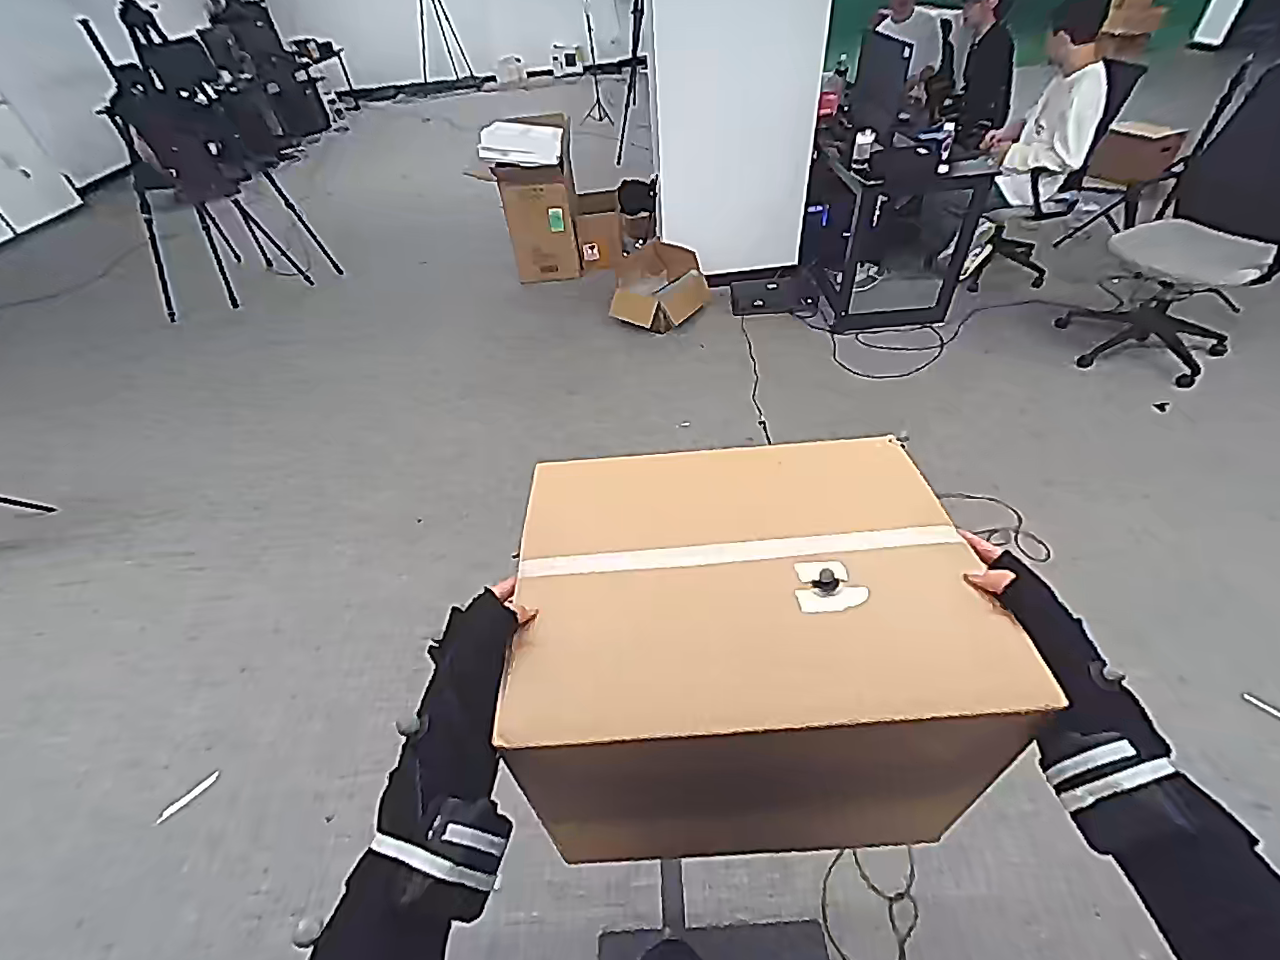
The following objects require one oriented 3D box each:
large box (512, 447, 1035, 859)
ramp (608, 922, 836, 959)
[{"bbox_3d":[0.101,0.190,0.610,0.408,0.320,0.320,-5,42,1],"label":"large box"},{"bbox_3d":[0.180,1.280,0.789,0.509,0.206,0.991,-8,44,2],"label":"ramp"}]
